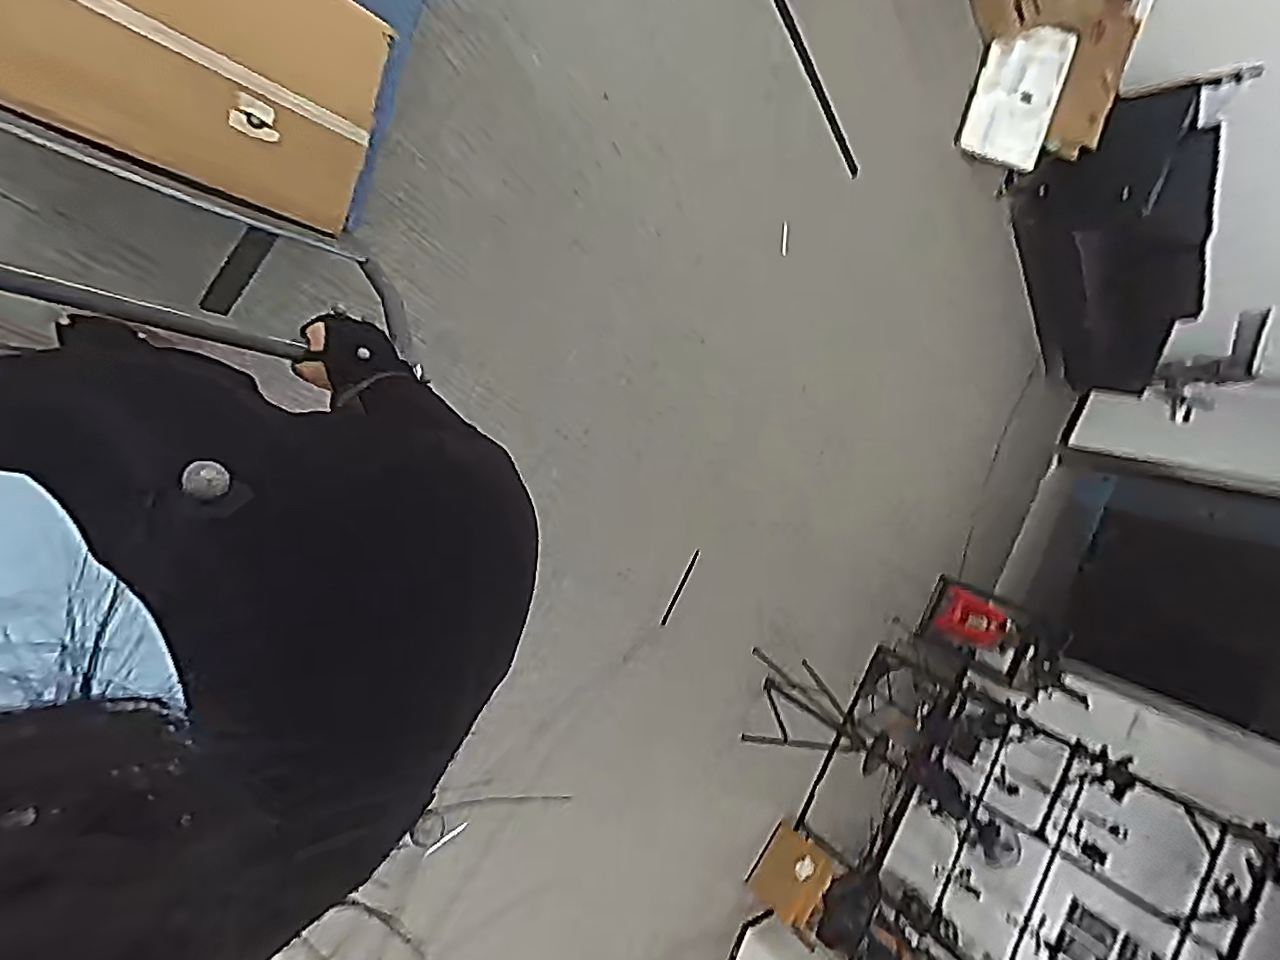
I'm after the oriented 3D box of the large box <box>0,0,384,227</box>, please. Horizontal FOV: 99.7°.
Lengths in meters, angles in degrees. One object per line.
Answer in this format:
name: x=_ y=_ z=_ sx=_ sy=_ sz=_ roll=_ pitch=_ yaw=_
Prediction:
large box: x=-0.670 y=-0.639 z=0.808 sx=0.408 sy=0.320 sz=0.320 roll=9 pitch=114 yaw=-45
